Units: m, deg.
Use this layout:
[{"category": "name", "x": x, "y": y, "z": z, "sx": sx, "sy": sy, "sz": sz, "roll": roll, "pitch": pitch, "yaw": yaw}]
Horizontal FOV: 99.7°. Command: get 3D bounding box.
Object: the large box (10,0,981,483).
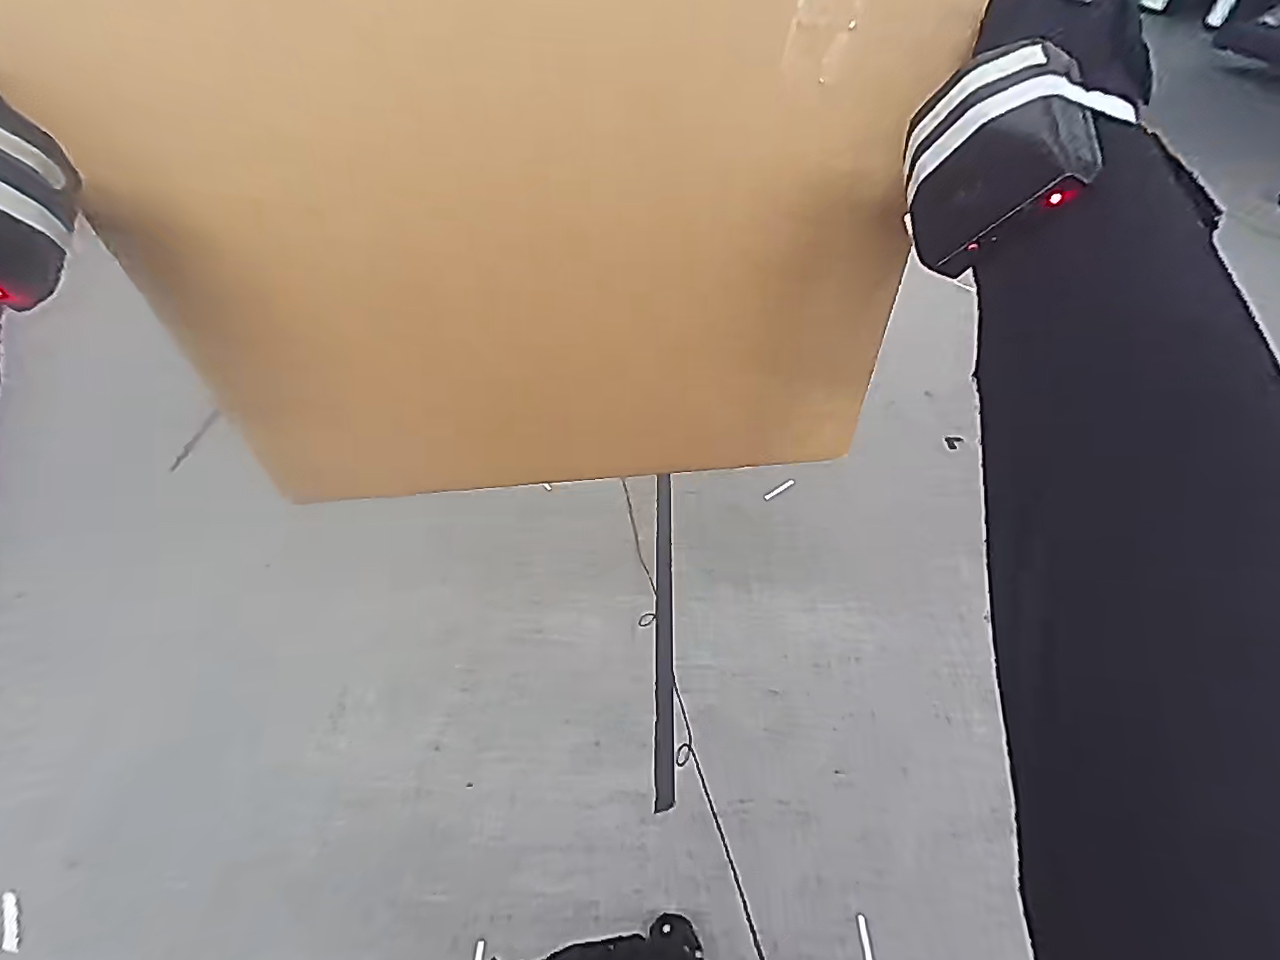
[{"category": "large box", "x": -0.060, "y": -0.219, "z": 0.398, "sx": 0.408, "sy": 0.320, "sz": 0.320, "roll": -4, "pitch": 44, "yaw": -3}]
